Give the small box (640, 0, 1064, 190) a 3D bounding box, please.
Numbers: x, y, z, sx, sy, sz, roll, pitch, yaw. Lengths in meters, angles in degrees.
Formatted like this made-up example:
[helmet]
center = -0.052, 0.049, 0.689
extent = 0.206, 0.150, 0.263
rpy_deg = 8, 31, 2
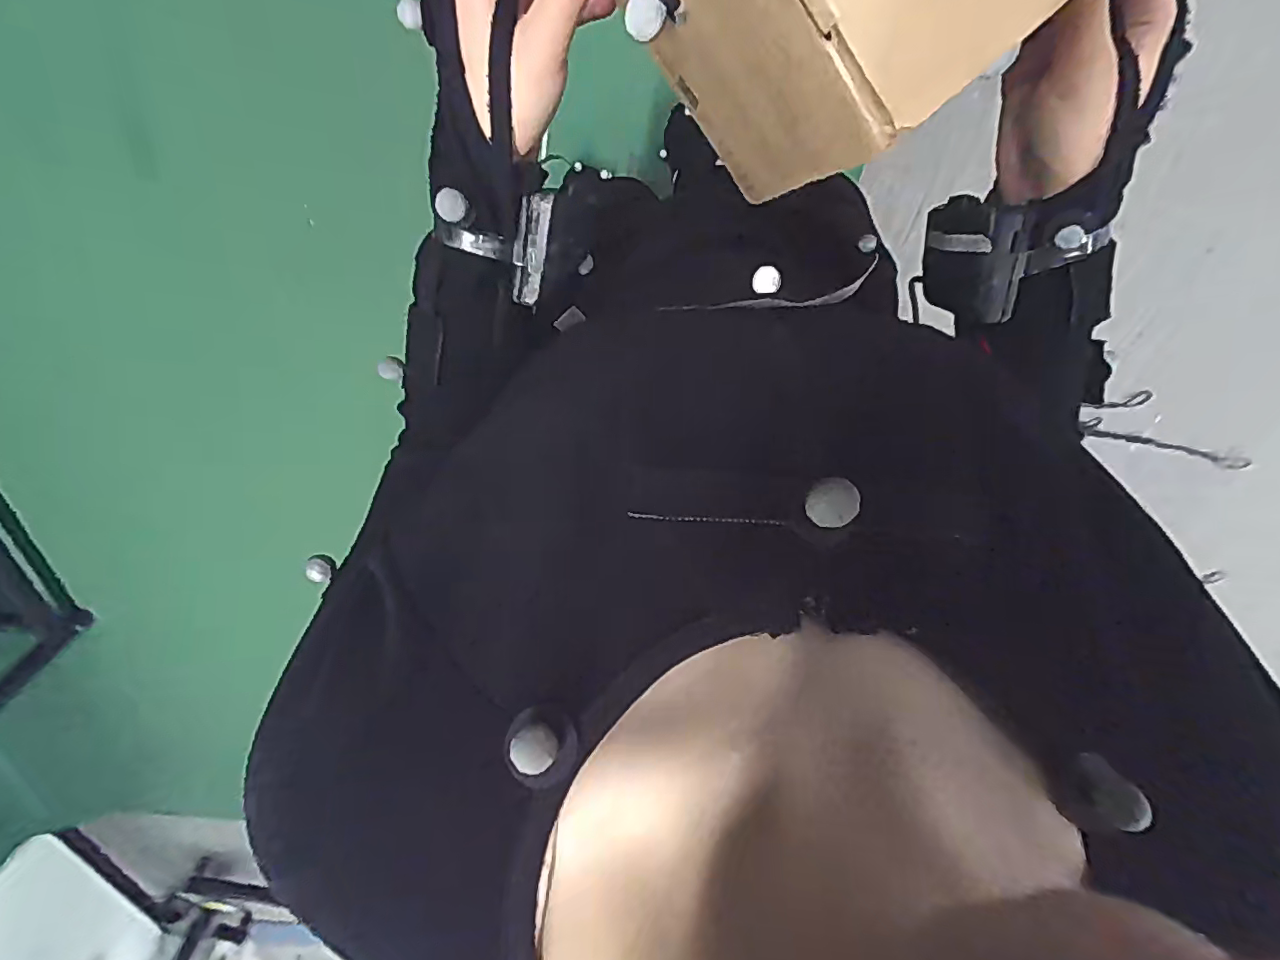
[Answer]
[small box]
center = 0.079, -0.222, 0.169
extent = 0.179, 0.176, 0.168
rpy_deg = -37, 108, 14
